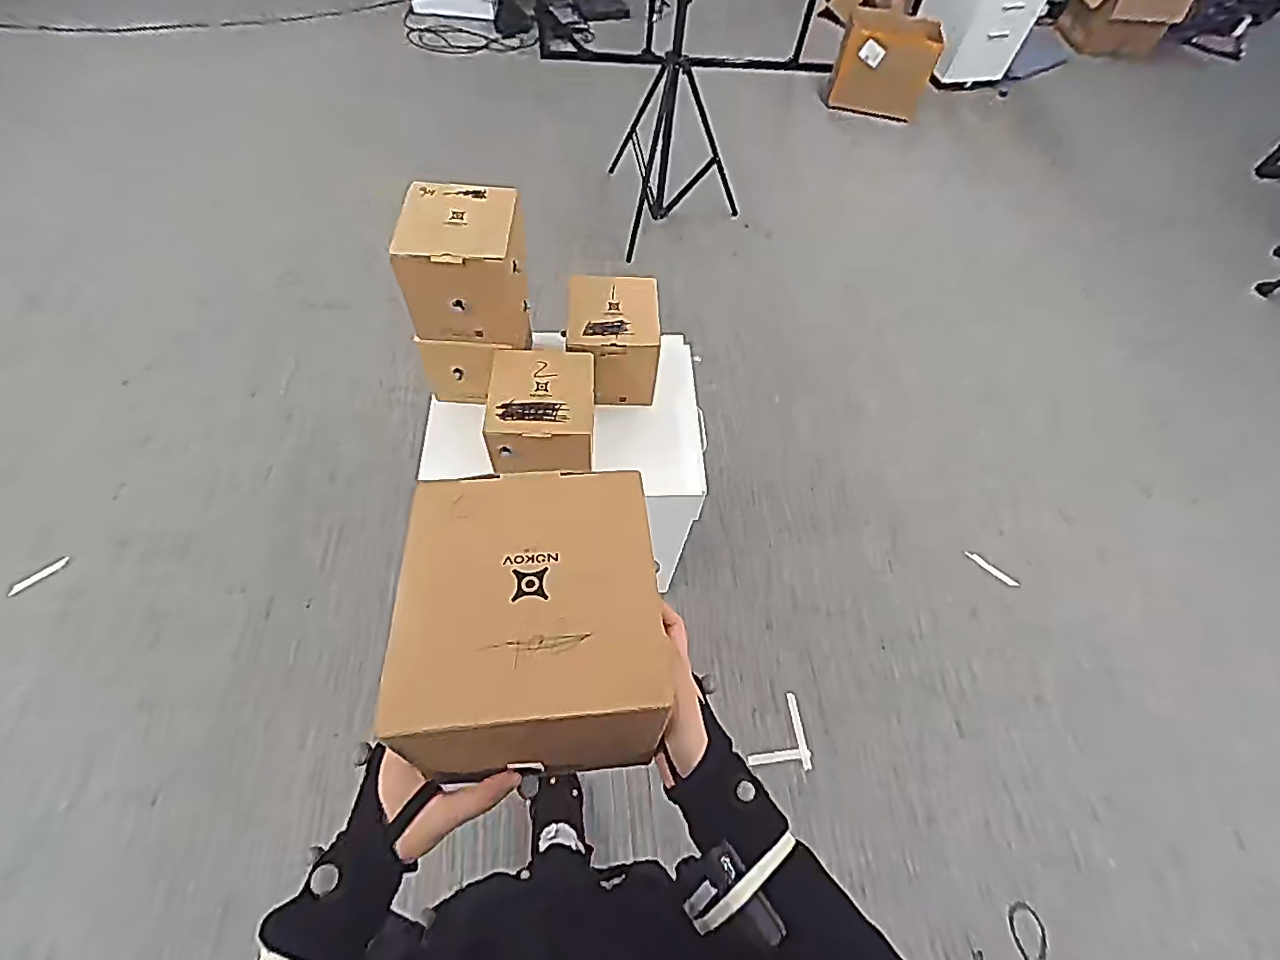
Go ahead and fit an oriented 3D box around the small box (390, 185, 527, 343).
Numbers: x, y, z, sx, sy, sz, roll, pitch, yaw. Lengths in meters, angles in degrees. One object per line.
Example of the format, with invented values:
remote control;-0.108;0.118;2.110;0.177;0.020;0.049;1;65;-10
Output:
small box;-0.279;-0.342;0.877;0.168;0.176;0.179;2;61;-5

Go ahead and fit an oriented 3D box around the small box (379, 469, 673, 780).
small box;-0.075;0.111;0.413;0.168;0.176;0.179;-3;53;-7

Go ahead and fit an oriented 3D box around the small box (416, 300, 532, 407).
small box;-0.299;-0.255;1.014;0.168;0.176;0.179;3;60;-4
